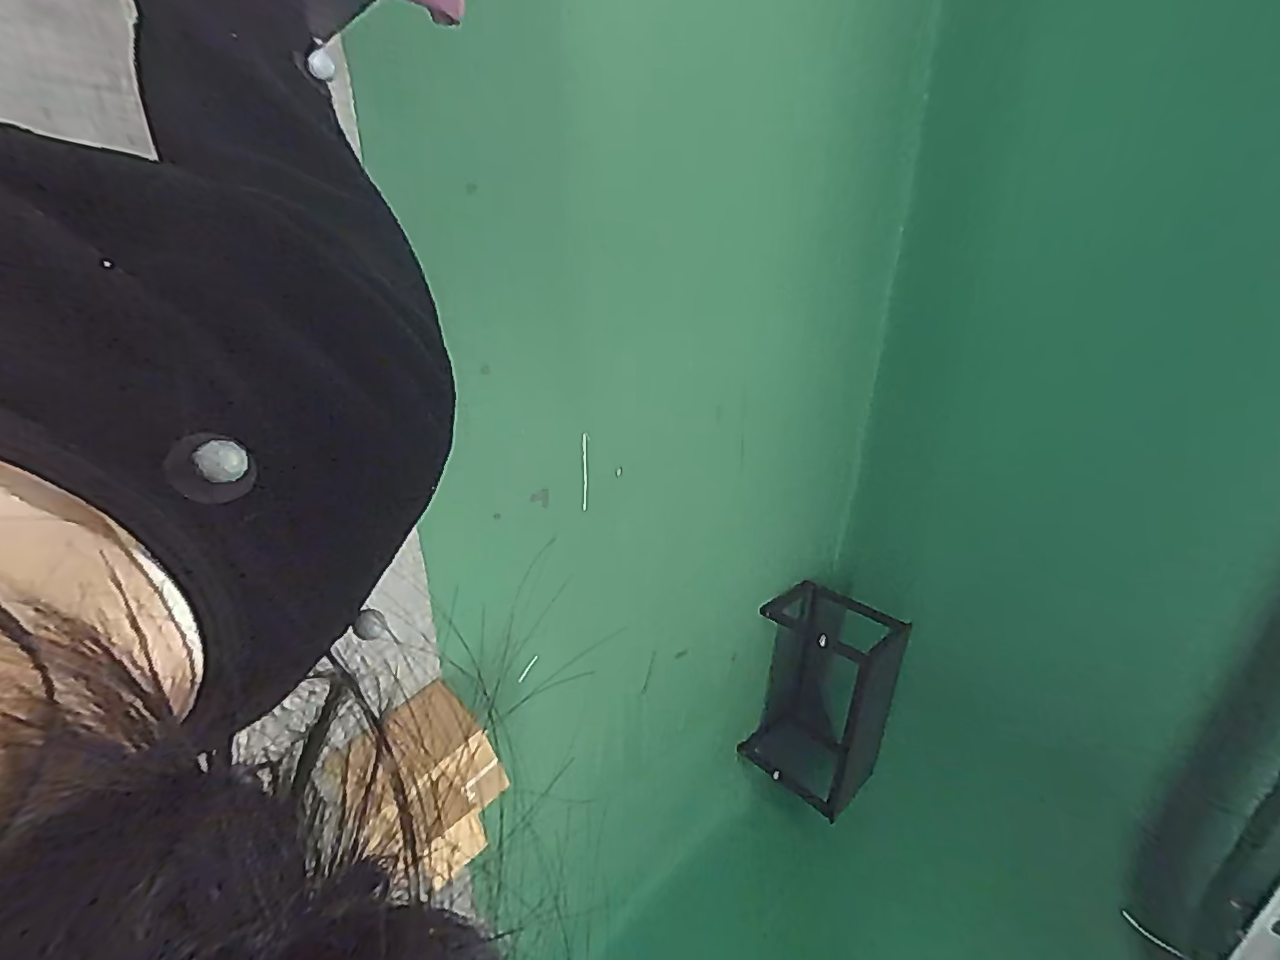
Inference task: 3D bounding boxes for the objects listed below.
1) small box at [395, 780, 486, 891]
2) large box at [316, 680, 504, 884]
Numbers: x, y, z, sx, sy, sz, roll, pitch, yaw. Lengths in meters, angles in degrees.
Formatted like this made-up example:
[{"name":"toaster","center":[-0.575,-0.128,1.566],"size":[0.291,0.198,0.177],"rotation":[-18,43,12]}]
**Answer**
[{"name":"small box","center":[-0.567,0.991,1.531],"size":[0.168,0.176,0.179],"rotation":[-28,124,-36]},{"name":"large box","center":[-0.719,0.939,1.723],"size":[0.408,0.320,0.320],"rotation":[-35,130,-34]}]
